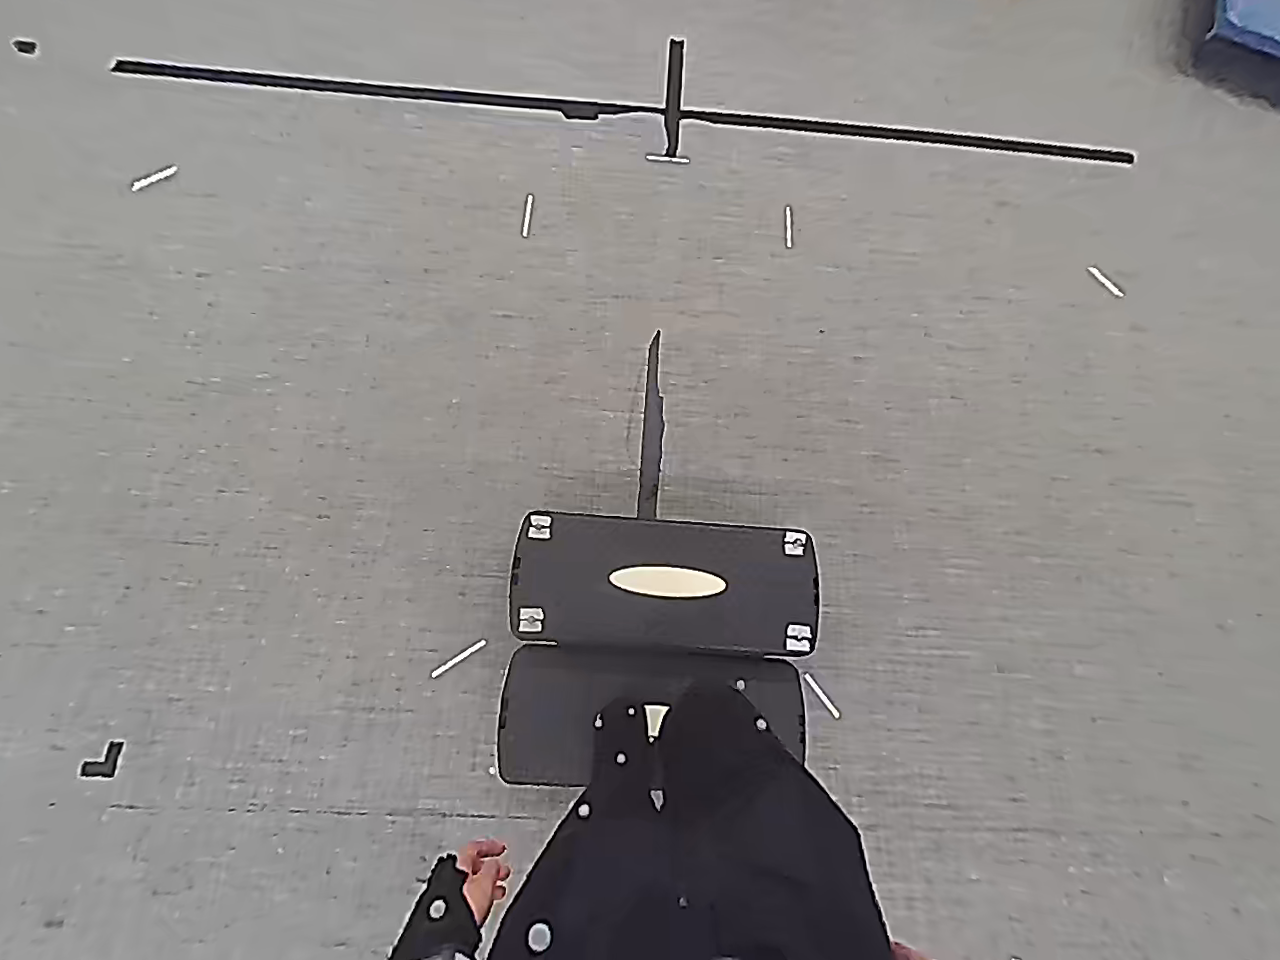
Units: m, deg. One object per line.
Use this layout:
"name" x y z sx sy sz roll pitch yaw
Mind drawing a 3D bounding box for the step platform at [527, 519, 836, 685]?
"step platform" 0.091 0.279 1.238 0.684 0.204 0.286 8 71 -2
